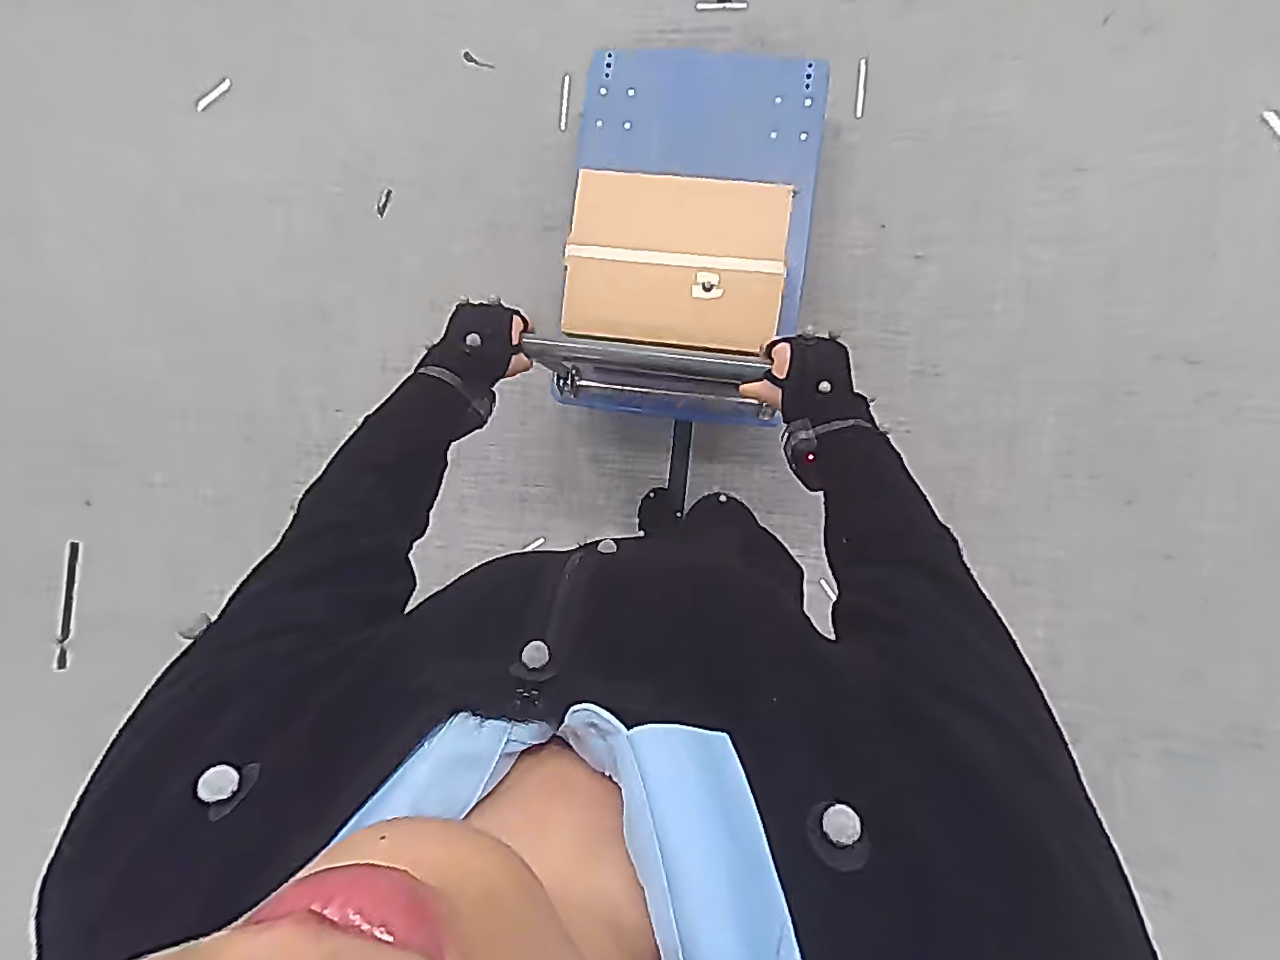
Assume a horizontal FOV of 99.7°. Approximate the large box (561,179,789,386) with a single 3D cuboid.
[{"bbox_3d":[0.071,-0.396,1.153,0.408,0.320,0.320,7,91,4],"label":"large box"}]
